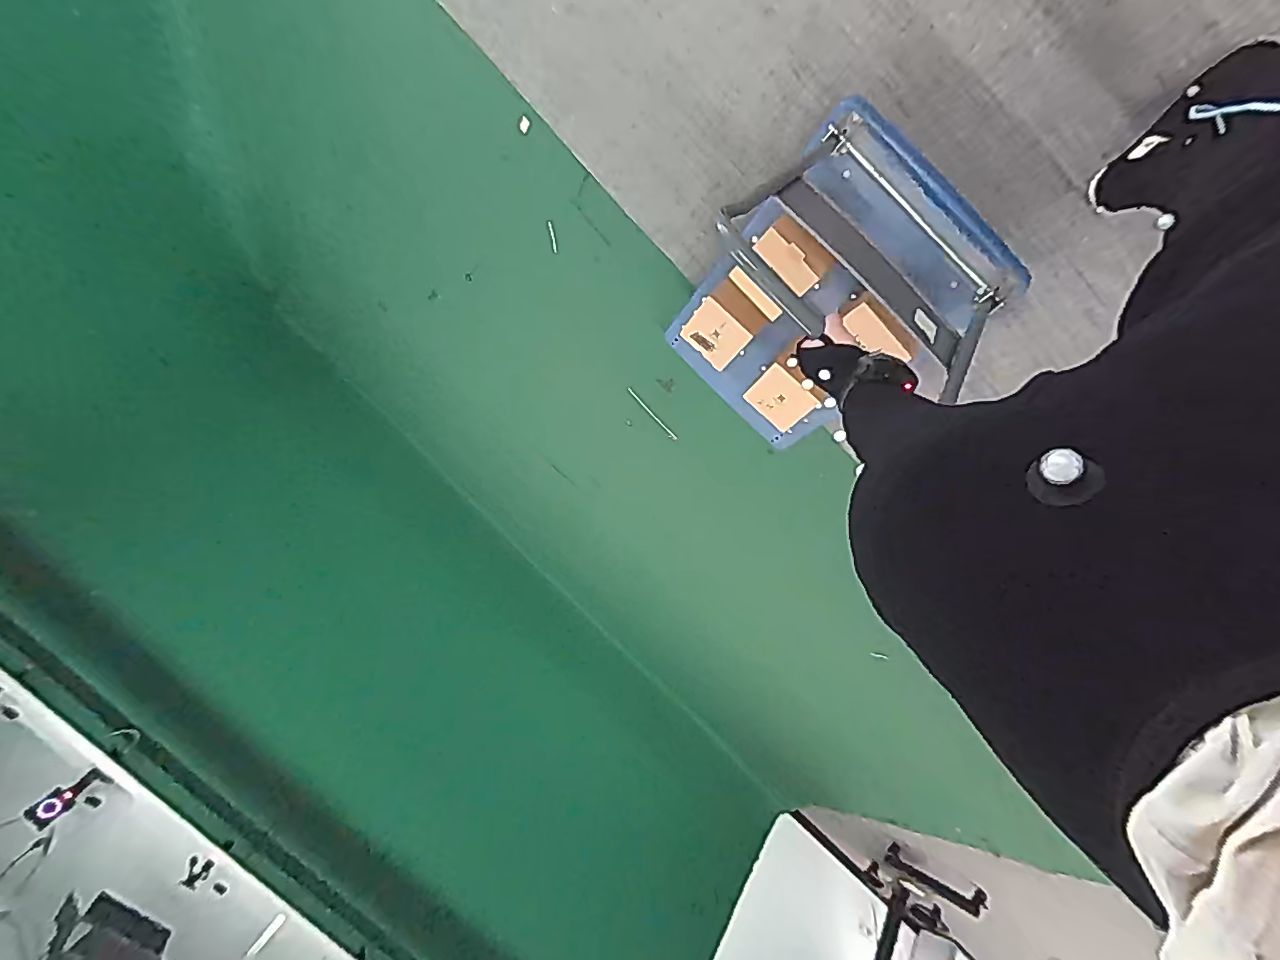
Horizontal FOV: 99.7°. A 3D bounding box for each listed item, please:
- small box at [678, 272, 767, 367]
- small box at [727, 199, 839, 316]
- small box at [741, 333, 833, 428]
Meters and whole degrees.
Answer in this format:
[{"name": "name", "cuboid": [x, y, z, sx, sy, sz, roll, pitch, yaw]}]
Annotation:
[{"name": "small box", "cuboid": [0.245, -0.463, 1.541, 0.168, 0.176, 0.179, 42, 146, -3]}, {"name": "small box", "cuboid": [0.355, -0.549, 1.335, 0.168, 0.176, 0.179, 45, 146, -6]}, {"name": "small box", "cuboid": [0.430, -0.289, 1.557, 0.168, 0.176, 0.179, 42, 147, -1]}]
